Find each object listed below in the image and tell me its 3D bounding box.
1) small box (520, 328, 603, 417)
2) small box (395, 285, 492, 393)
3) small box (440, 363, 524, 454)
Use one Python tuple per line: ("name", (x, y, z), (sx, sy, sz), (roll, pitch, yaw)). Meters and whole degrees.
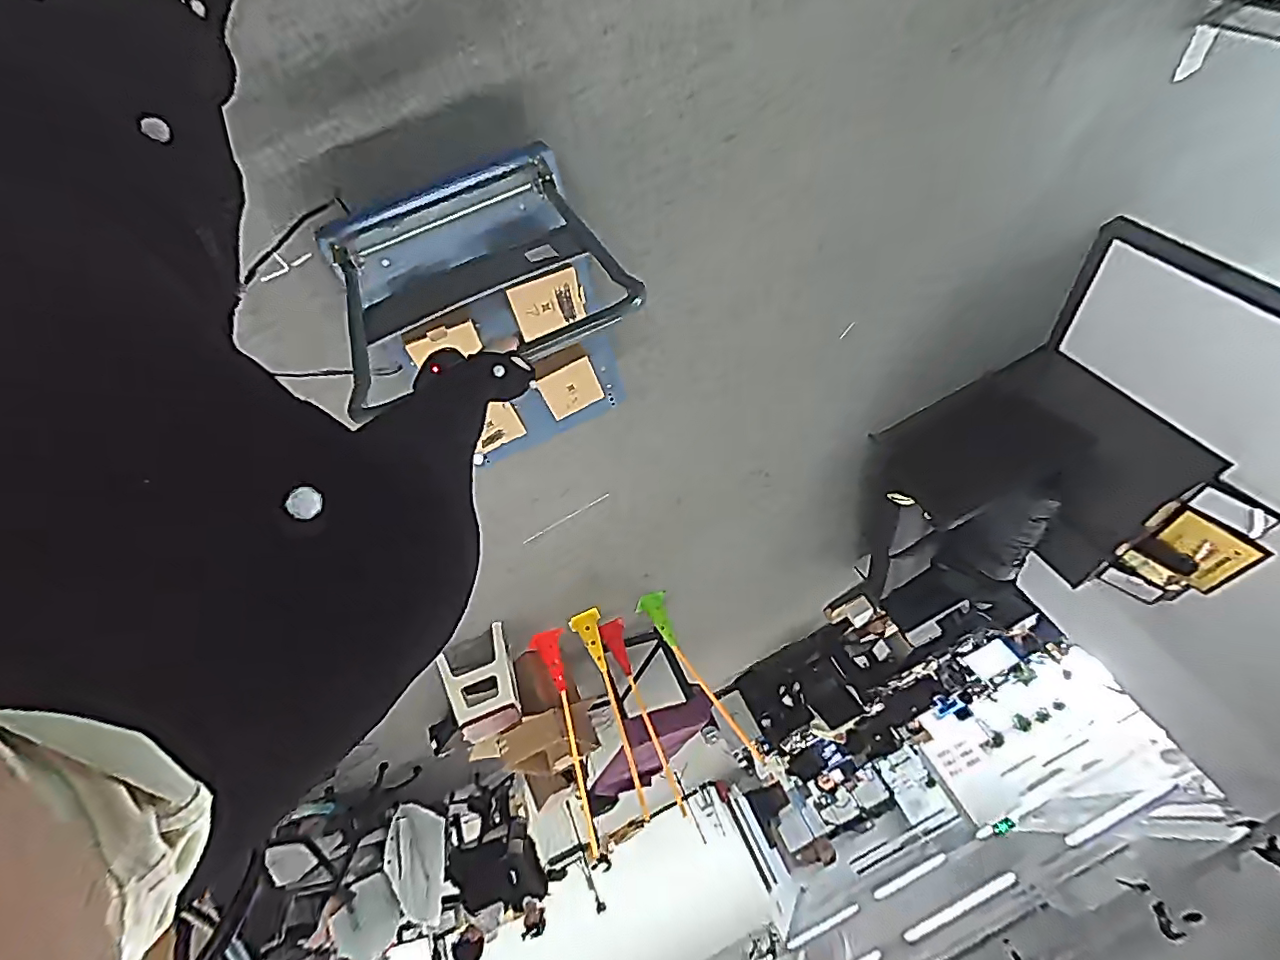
("small box", (-0.235, -0.327, 1.607), (0.168, 0.176, 0.179), (-27, 145, -3))
("small box", (-0.500, -0.361, 1.382), (0.168, 0.176, 0.179), (-24, 144, -8))
("small box", (-0.464, -0.216, 1.581), (0.168, 0.176, 0.179), (-27, 144, -5))
